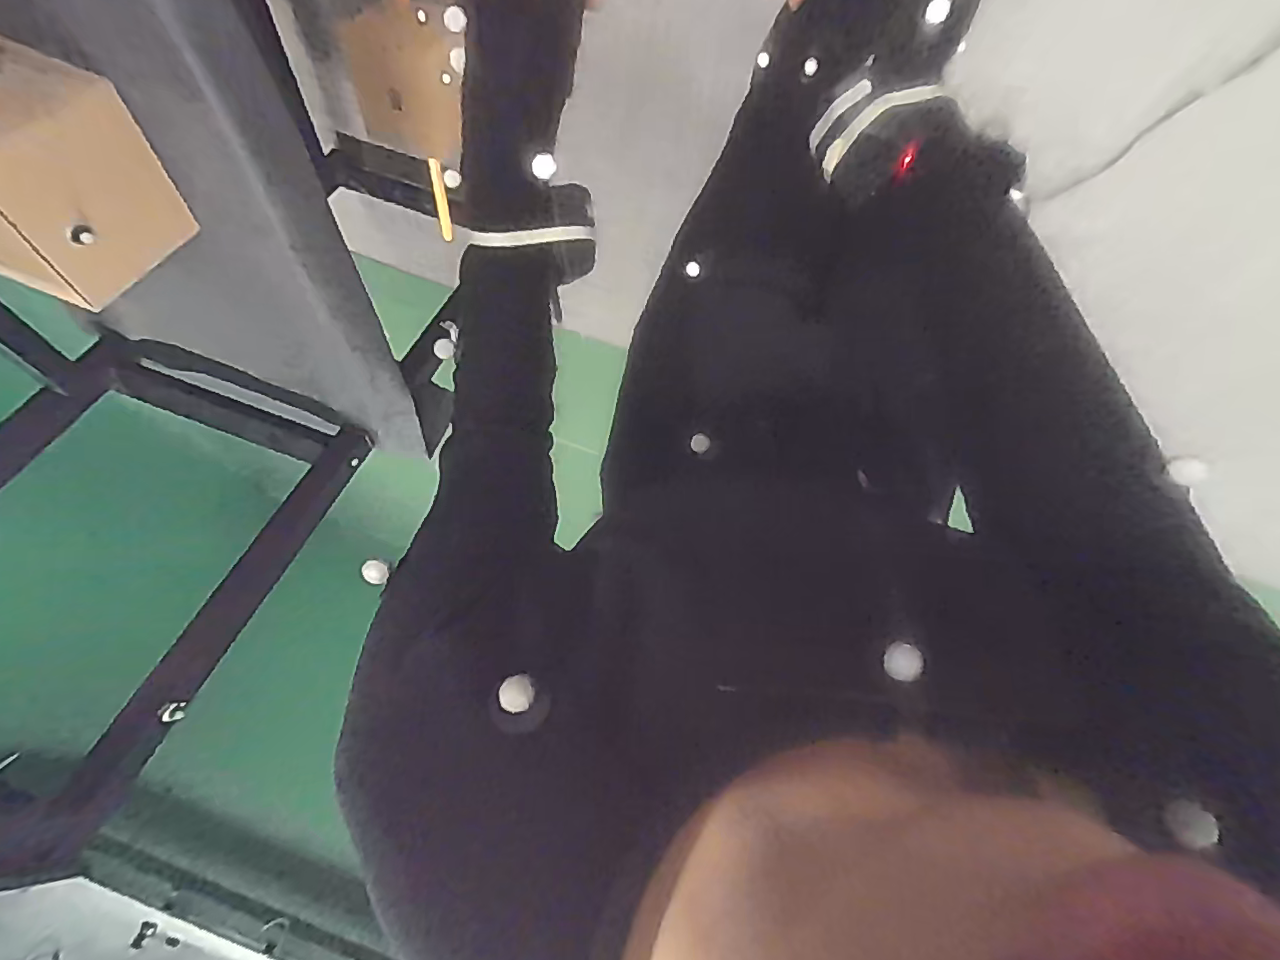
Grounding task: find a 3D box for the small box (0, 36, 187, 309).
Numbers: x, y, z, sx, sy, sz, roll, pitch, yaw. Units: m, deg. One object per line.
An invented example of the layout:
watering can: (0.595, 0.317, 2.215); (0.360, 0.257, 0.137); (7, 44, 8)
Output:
small box: (-0.646, -0.324, 0.571); (0.168, 0.176, 0.179); (21, 150, 0)
